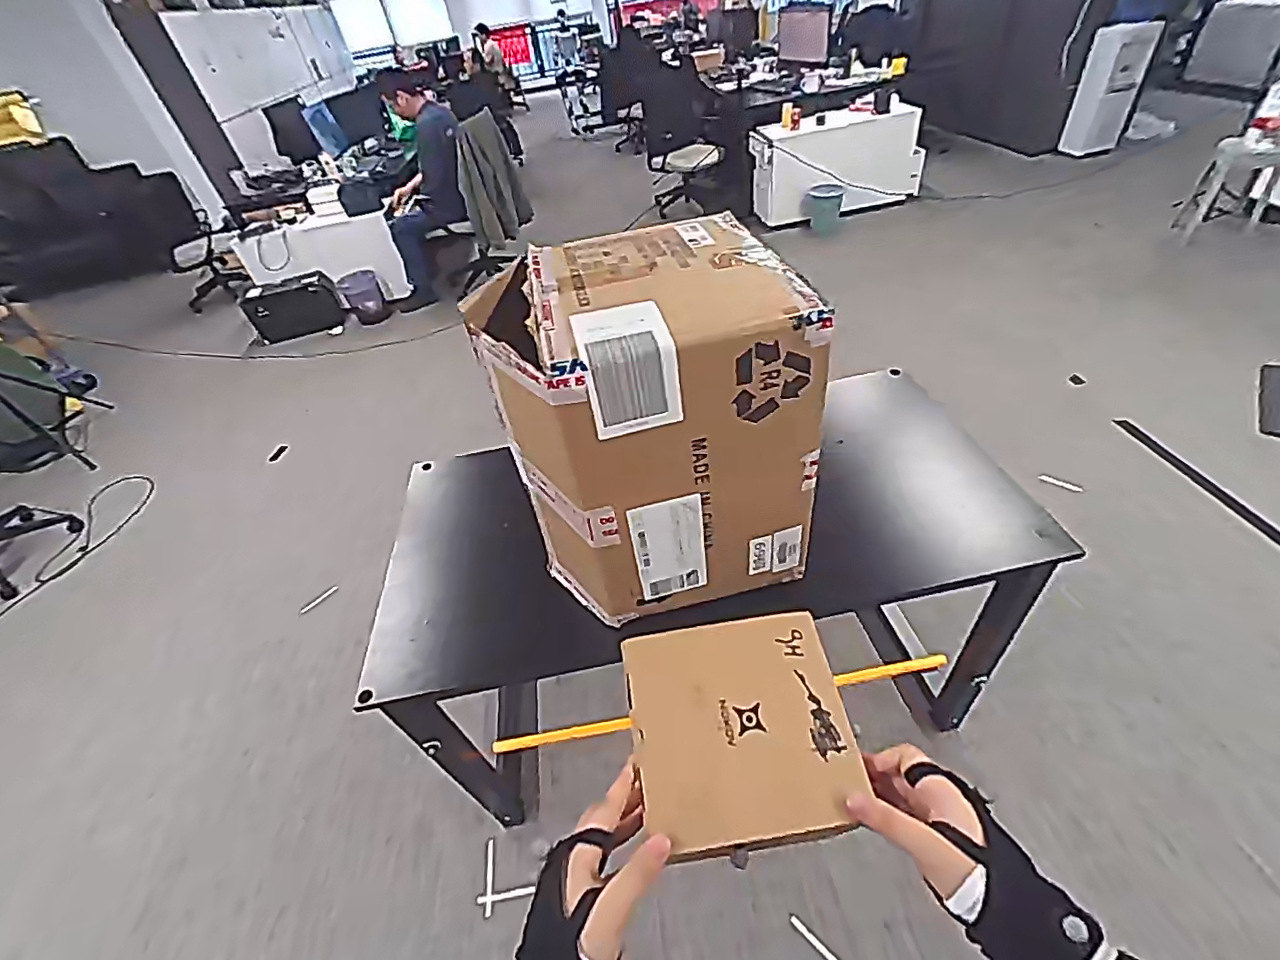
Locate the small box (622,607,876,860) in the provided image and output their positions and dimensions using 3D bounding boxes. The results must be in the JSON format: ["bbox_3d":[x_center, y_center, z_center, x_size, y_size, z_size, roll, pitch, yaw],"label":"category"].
[{"bbox_3d":[0.085,0.239,0.503,0.179,0.176,0.168,-8,52,-2],"label":"small box"}]
